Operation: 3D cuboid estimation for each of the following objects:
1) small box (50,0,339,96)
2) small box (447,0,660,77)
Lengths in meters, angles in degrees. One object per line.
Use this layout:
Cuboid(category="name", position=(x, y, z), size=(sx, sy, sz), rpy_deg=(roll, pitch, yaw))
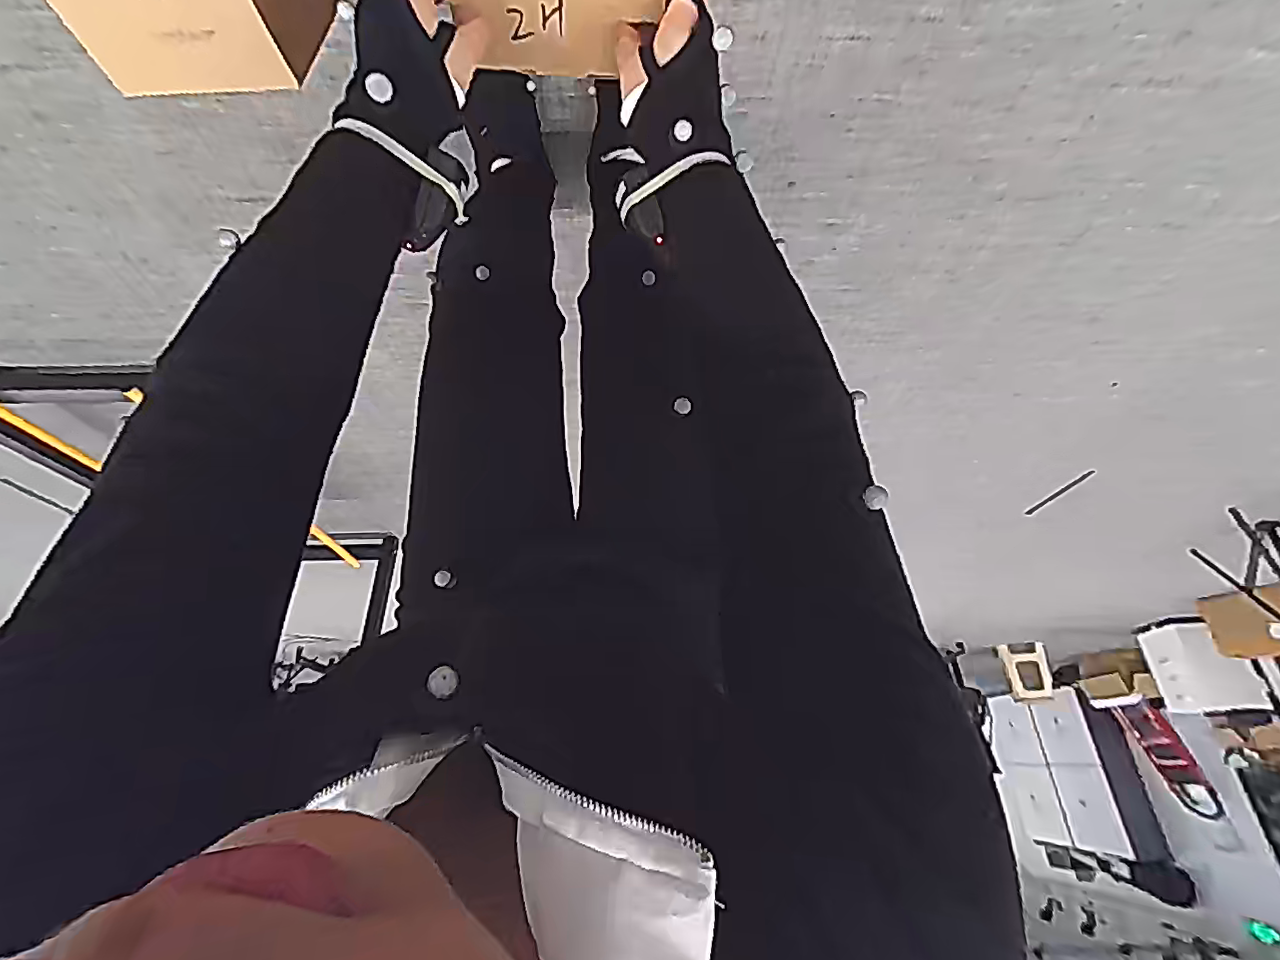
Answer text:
Cuboid(category="small box", position=(-0.385, -0.460, 0.446), size=(0.168, 0.176, 0.179), rpy_deg=(-1, 154, 3))
Cuboid(category="small box", position=(-0.064, -0.455, 0.409), size=(0.168, 0.176, 0.179), rpy_deg=(1, 159, -4))
